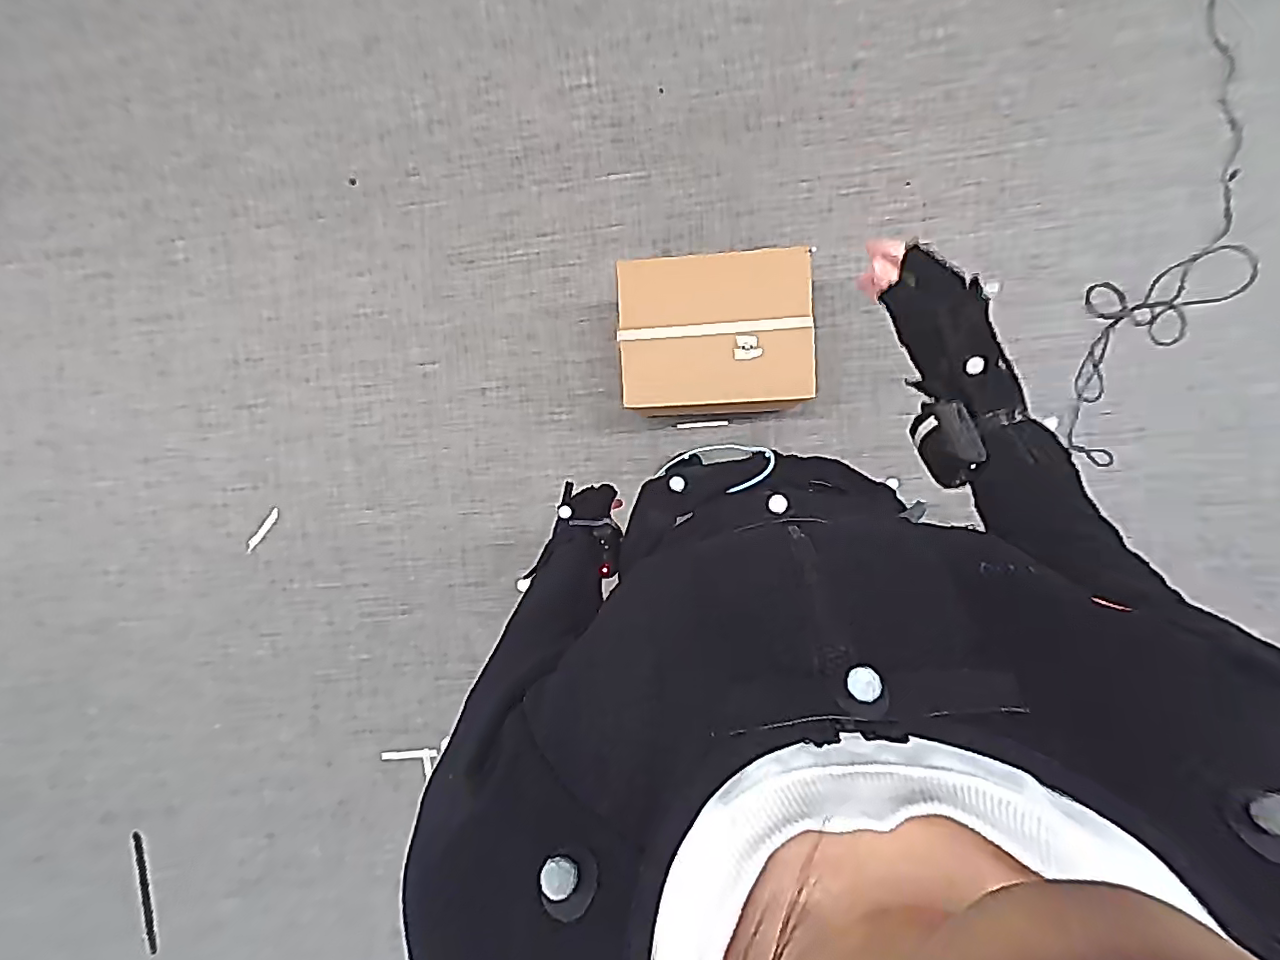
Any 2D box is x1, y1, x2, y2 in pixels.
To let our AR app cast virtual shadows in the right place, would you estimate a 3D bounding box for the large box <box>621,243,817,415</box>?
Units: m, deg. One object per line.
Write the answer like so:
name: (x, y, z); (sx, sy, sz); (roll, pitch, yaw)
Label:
large box: (0.177, -0.332, 1.286); (0.408, 0.320, 0.320); (-2, 93, 6)
